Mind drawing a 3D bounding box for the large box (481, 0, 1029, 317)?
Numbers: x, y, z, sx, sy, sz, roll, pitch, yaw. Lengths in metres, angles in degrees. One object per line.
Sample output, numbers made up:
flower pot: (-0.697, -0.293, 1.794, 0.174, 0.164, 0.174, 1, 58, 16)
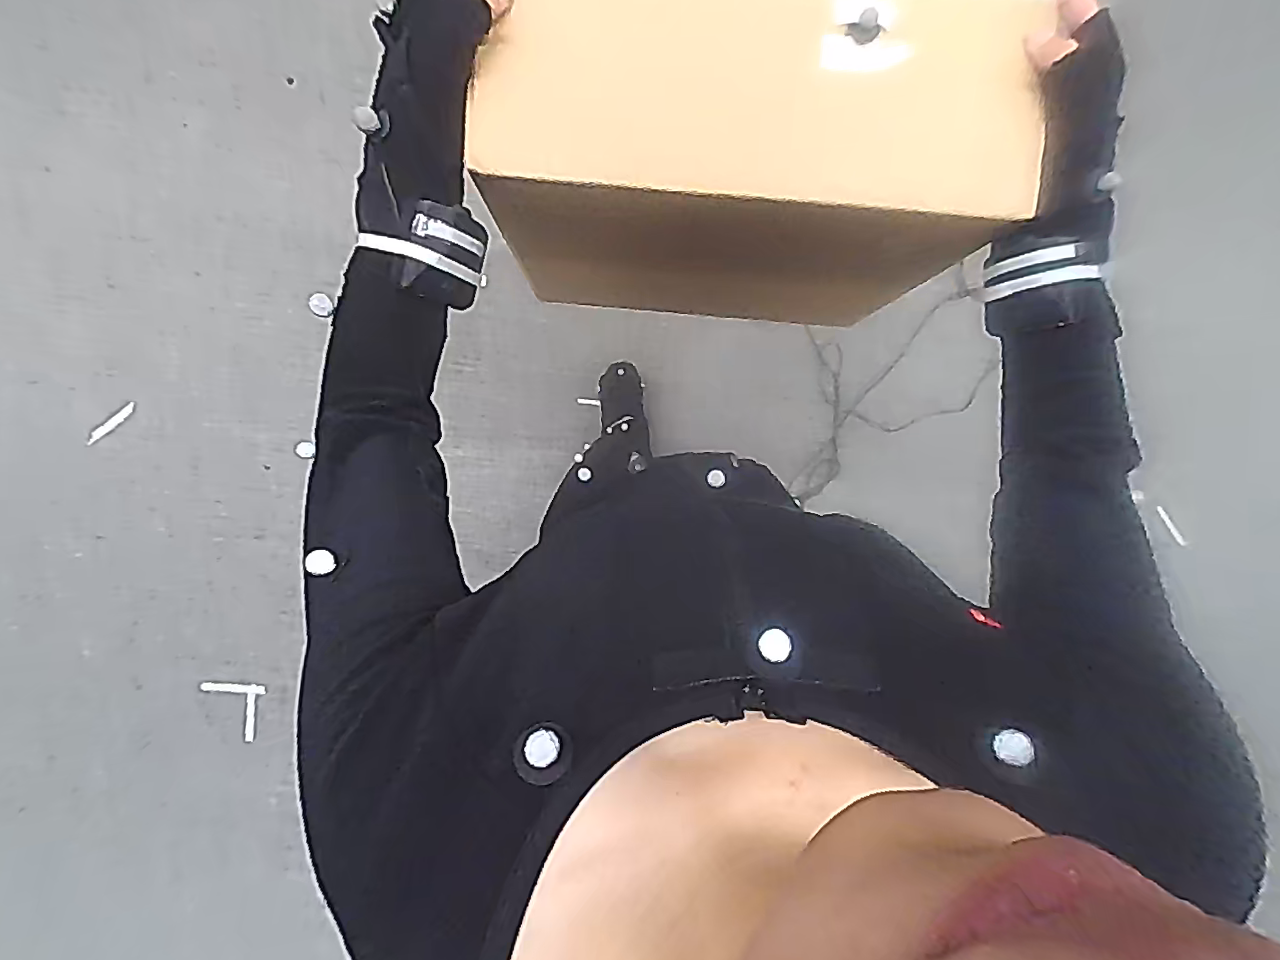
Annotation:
large box: (0.083, -0.368, 0.542, 0.408, 0.320, 0.320, 4, 92, -2)
